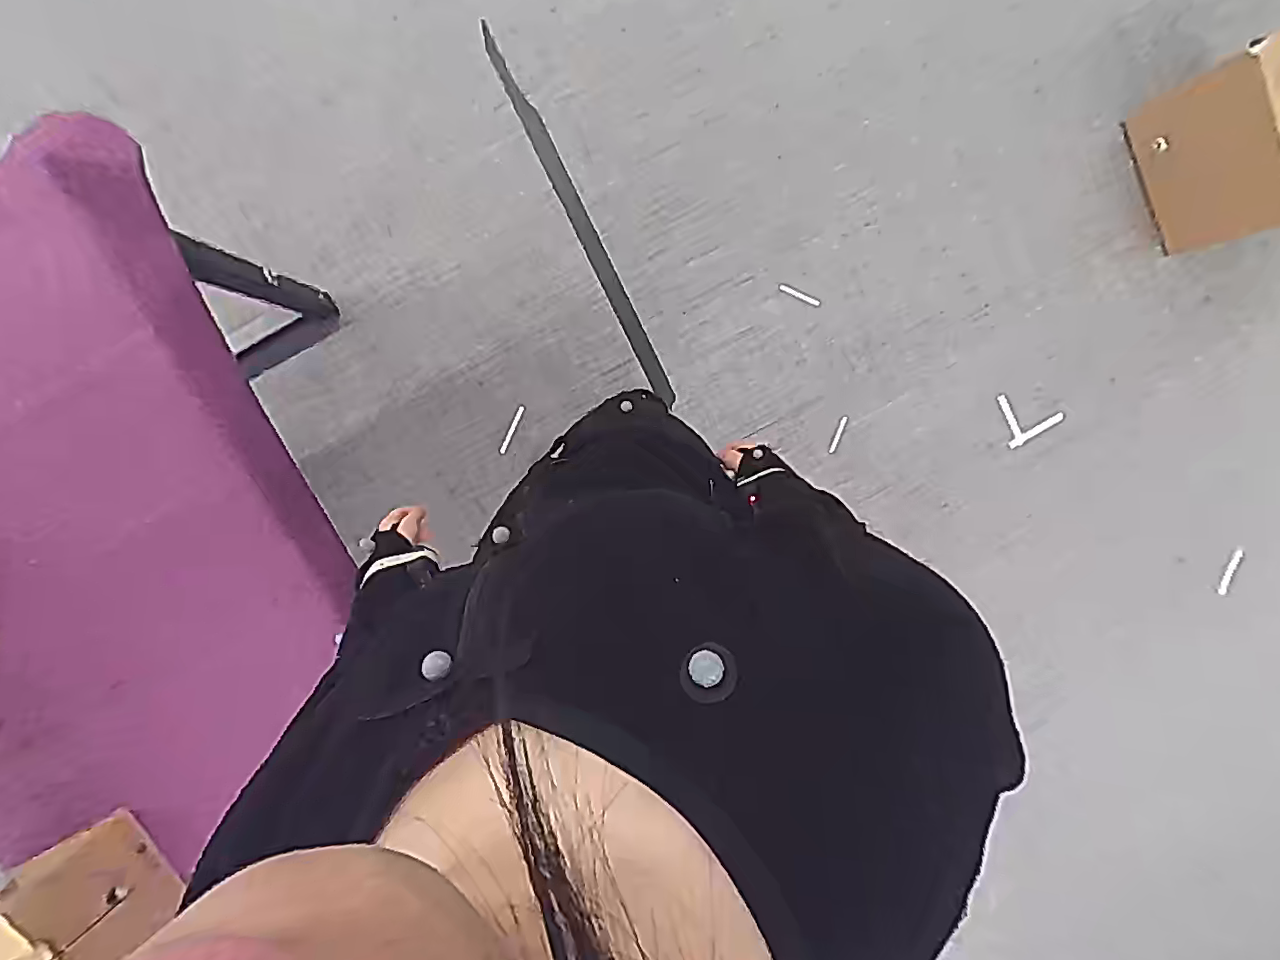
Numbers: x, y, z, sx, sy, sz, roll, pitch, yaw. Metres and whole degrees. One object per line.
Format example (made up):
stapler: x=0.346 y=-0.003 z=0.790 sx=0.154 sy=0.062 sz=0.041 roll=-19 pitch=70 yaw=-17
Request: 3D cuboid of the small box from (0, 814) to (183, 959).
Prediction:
small box: x=-0.757 y=0.588 z=0.704 sx=0.179 sy=0.176 sz=0.168 roll=-29 pitch=97 yaw=-2
